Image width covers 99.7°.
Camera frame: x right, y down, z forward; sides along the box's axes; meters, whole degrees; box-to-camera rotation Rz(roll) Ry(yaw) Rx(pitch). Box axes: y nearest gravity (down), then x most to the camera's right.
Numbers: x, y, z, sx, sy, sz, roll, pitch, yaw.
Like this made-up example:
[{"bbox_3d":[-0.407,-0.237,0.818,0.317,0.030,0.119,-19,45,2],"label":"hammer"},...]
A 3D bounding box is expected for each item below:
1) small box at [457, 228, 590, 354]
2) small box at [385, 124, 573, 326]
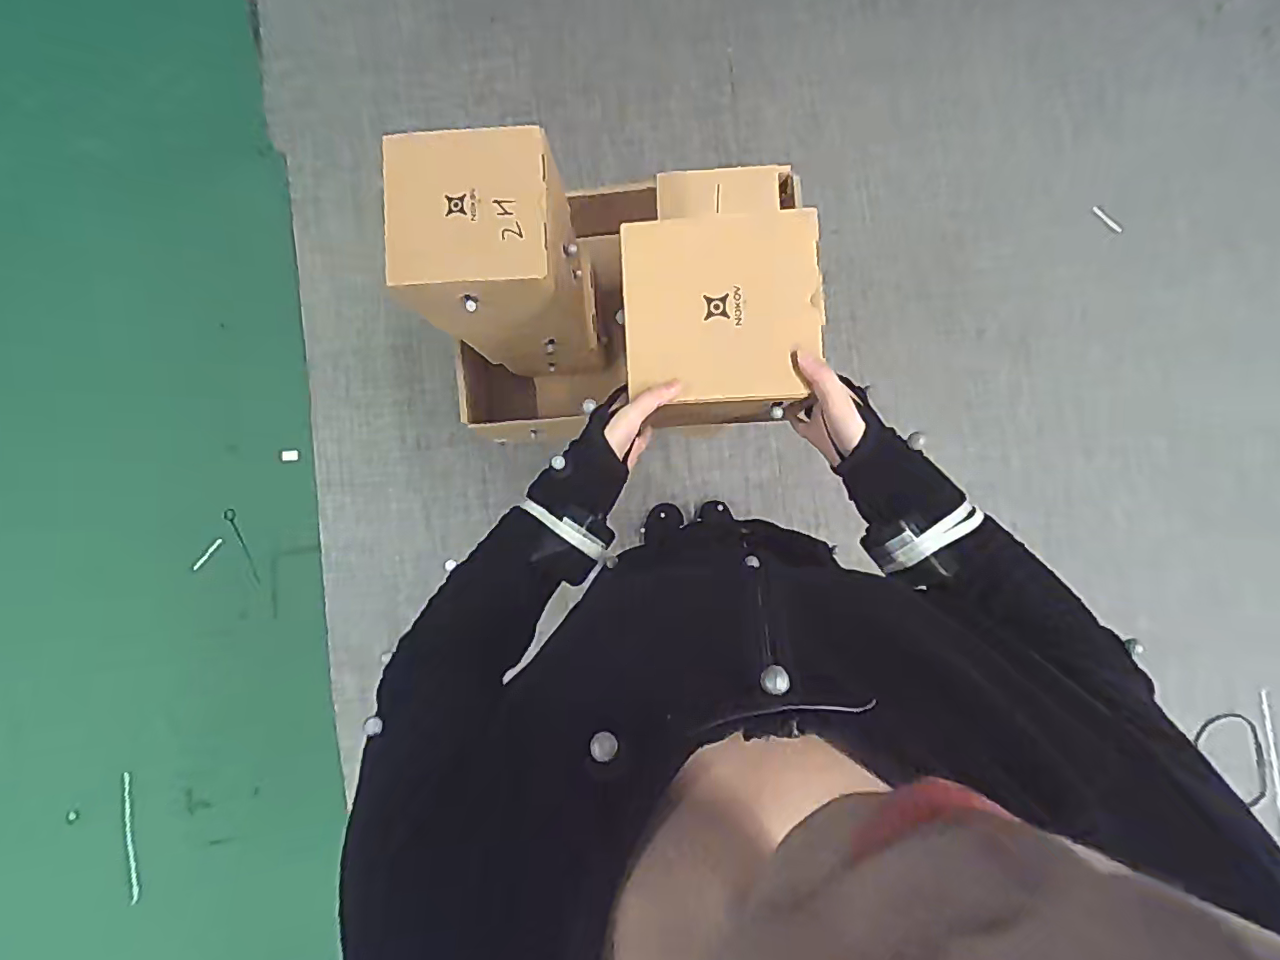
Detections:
[{"bbox_3d":[-0.172,-0.296,0.820,0.168,0.176,0.179,-4,88,3],"label":"small box"},{"bbox_3d":[-0.183,-0.293,0.656,0.179,0.176,0.168,-1,89,3],"label":"small box"}]
